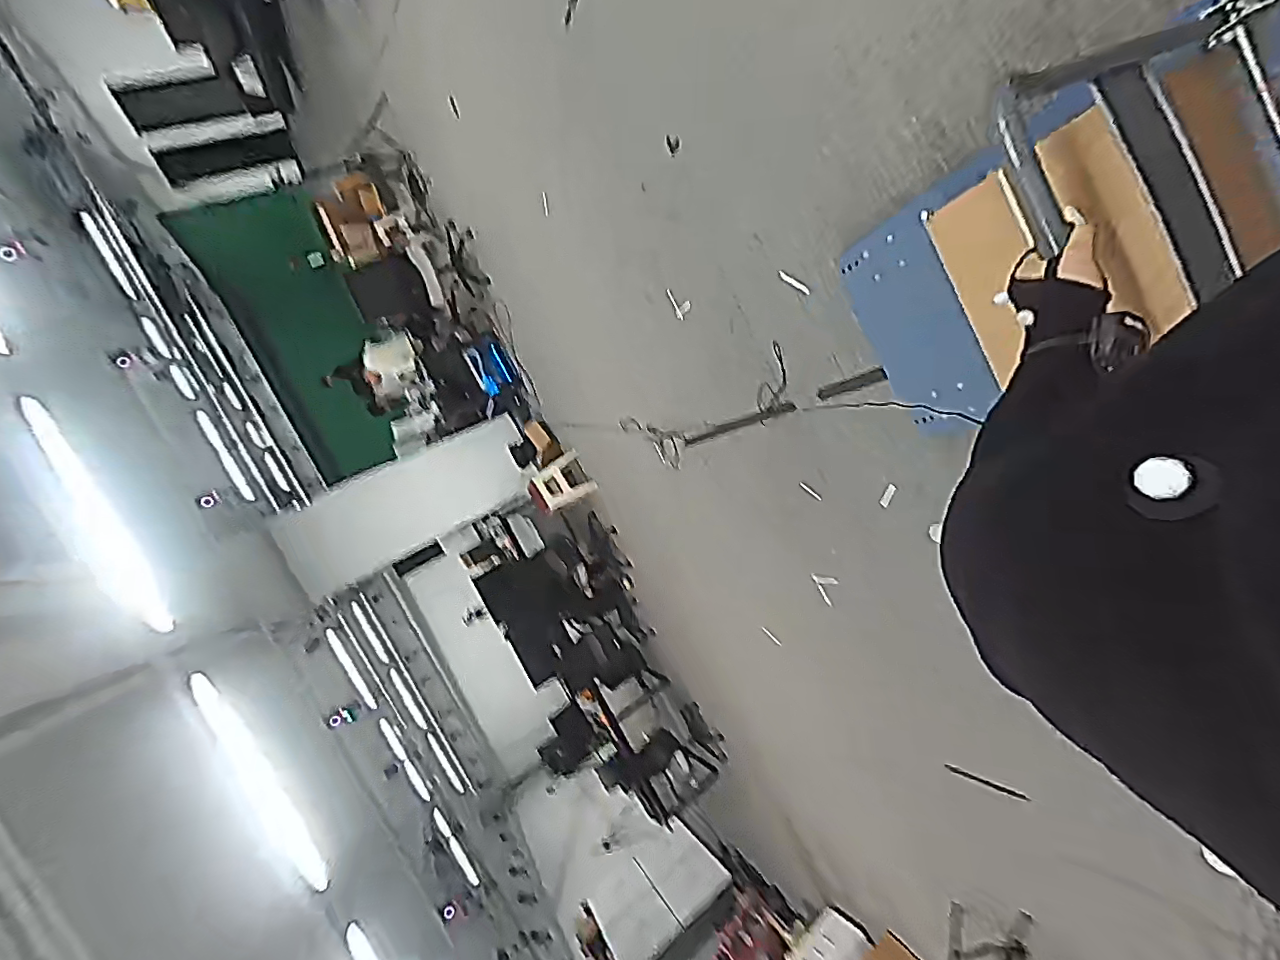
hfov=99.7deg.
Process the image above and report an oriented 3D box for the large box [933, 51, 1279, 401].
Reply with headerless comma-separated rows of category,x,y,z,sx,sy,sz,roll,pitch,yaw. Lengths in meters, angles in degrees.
large box,0.807,-0.405,0.924,0.408,0.320,0.320,63,157,-4
